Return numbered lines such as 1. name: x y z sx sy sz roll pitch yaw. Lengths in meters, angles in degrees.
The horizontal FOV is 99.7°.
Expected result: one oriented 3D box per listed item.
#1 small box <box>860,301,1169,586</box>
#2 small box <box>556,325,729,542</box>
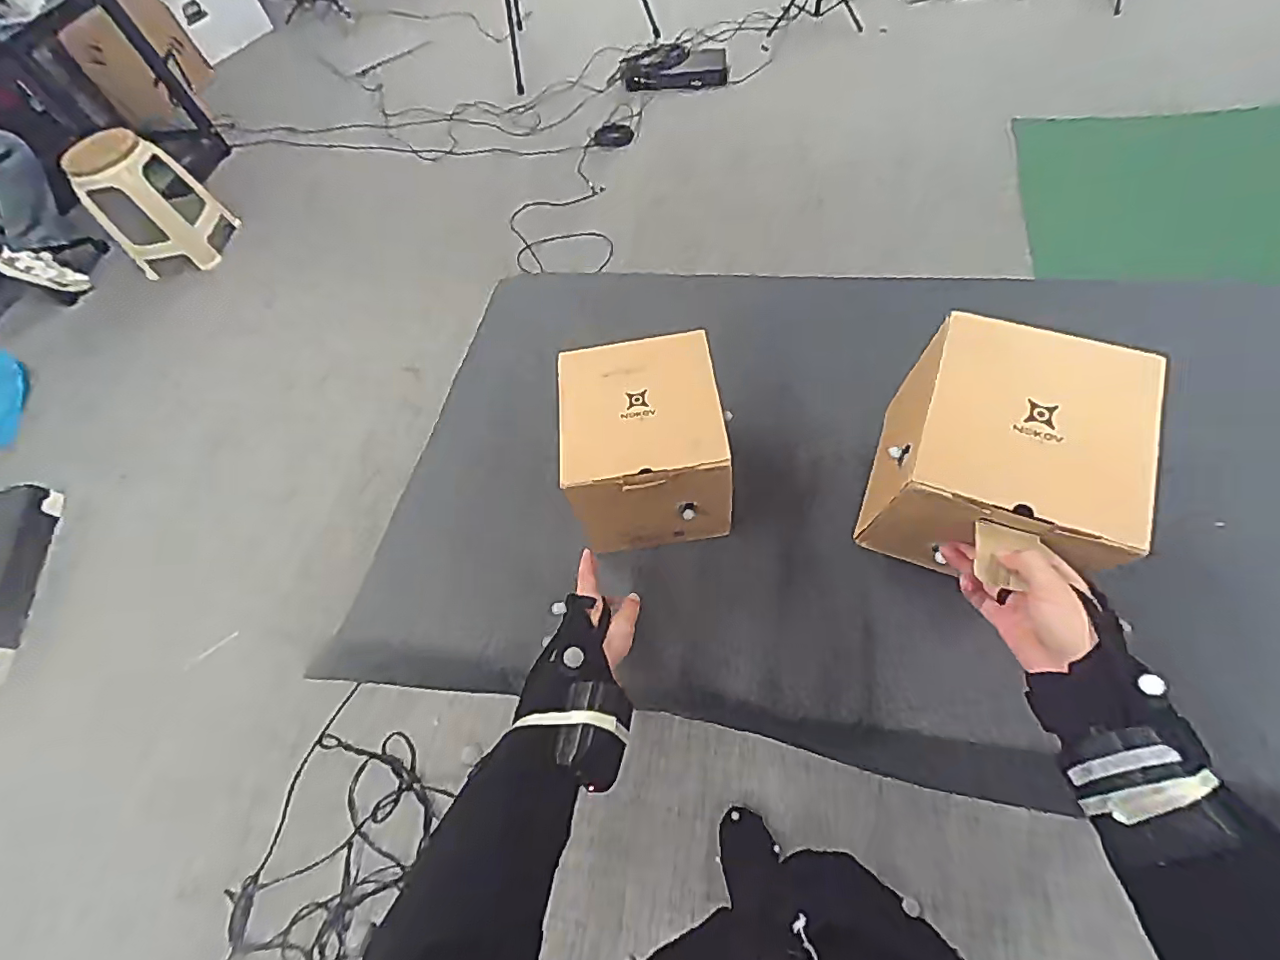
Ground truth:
1. small box: 0.320 -0.024 0.493 0.168 0.176 0.179 19 71 13
2. small box: 0.006 -0.041 0.608 0.168 0.176 0.179 -8 58 3
